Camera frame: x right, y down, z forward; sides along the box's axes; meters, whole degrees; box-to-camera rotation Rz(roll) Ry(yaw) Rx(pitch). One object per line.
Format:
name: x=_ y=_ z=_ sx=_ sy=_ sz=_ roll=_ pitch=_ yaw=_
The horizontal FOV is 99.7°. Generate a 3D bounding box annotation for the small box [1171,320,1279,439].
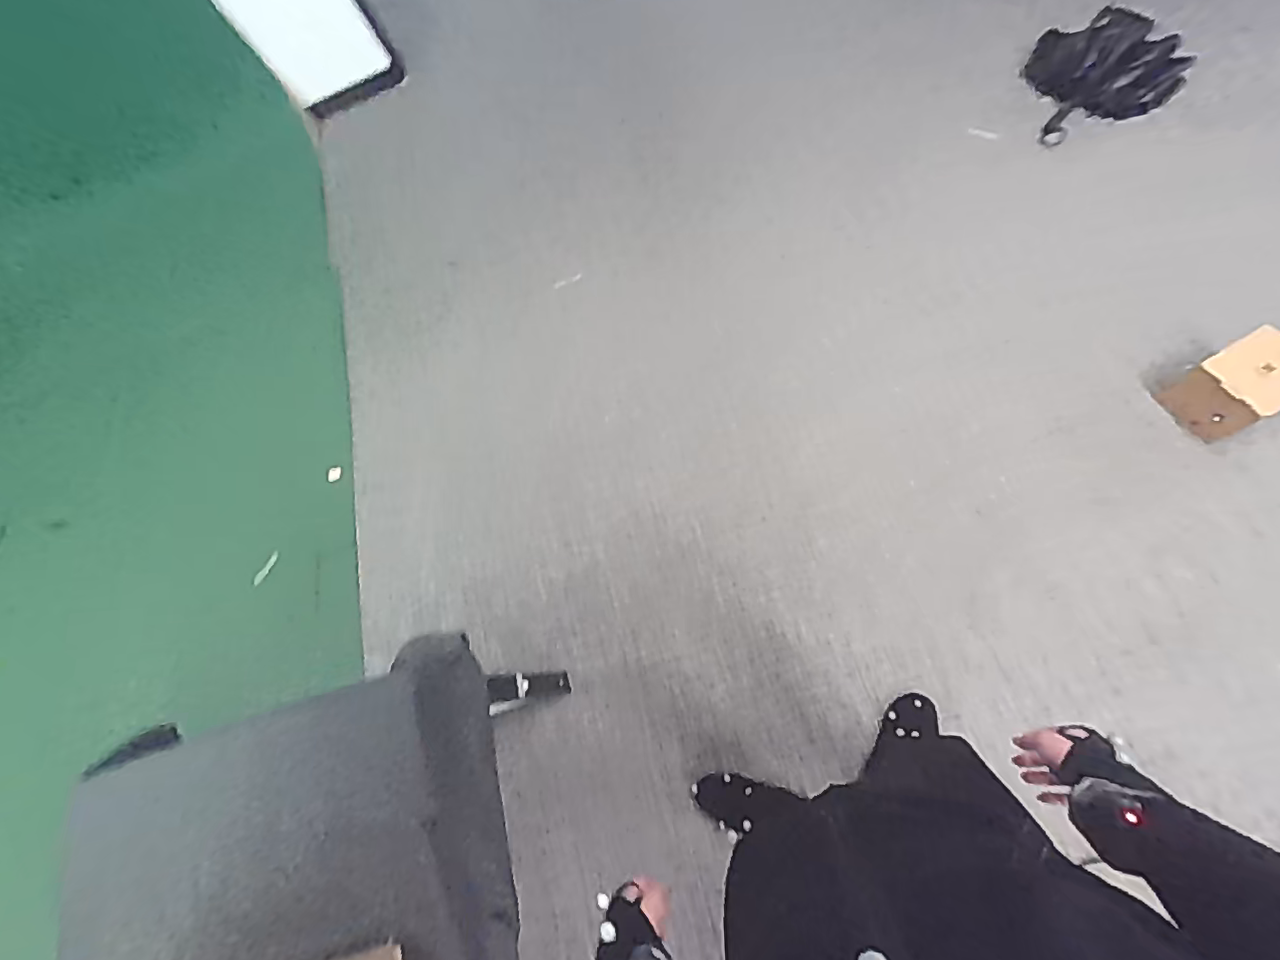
small box: x=1.388 y=-0.221 z=1.236 sx=0.179 sy=0.176 sz=0.168 roll=-32 pitch=68 yaw=1
